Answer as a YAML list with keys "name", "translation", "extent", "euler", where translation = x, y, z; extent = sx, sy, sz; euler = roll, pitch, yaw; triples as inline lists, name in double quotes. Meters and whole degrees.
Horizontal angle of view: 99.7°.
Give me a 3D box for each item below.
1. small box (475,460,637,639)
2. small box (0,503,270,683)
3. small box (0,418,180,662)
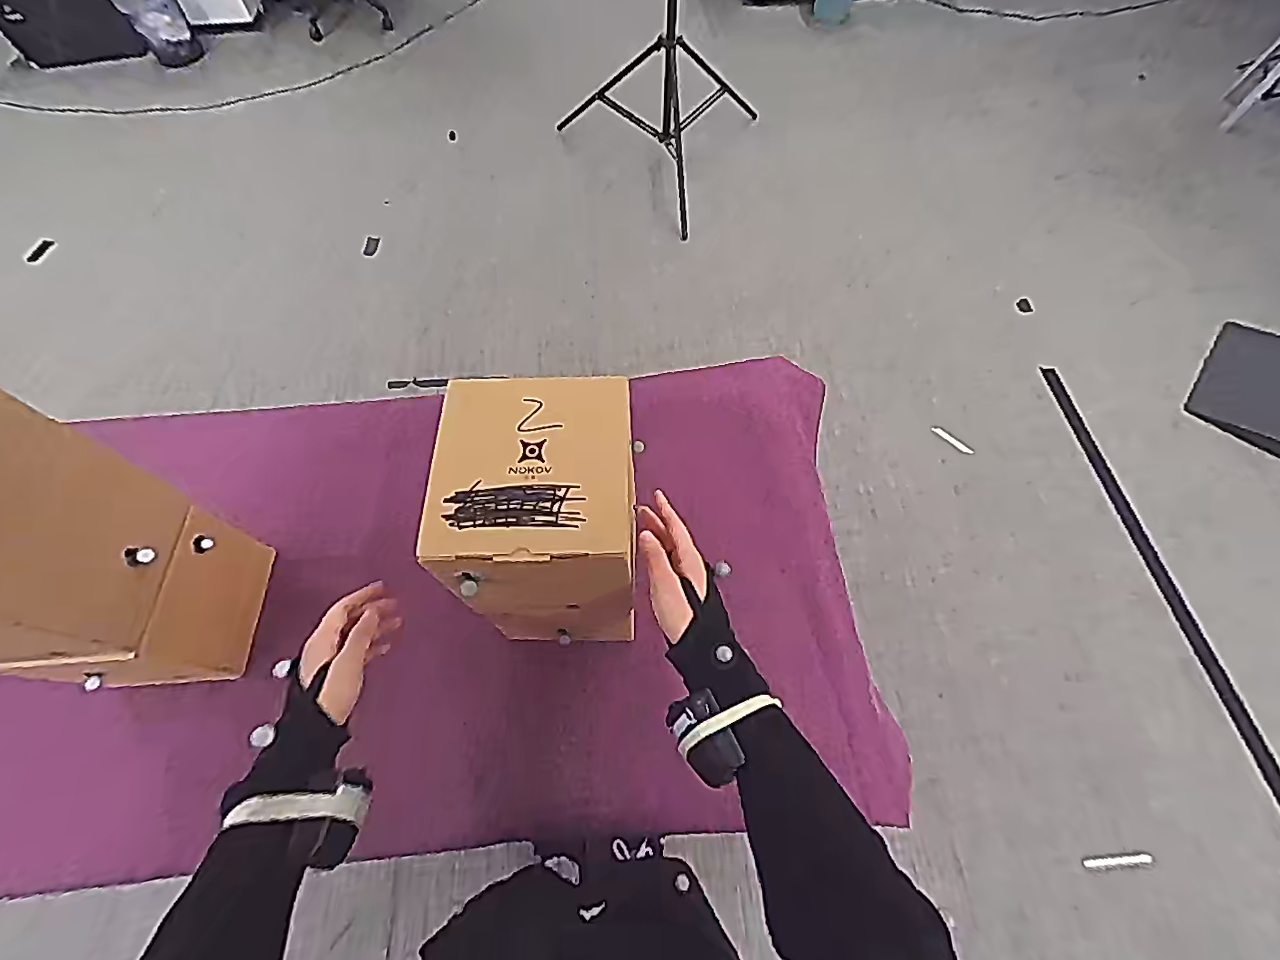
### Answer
- name: "small box"
  translation: [-0.090, 0.091, 0.674]
  extent: [0.168, 0.176, 0.179]
  euler: [0, 63, 1]
- name: "small box"
  translation: [-0.590, 0.144, 0.652]
  extent: [0.168, 0.176, 0.179]
  euler: [-4, 62, -2]
- name: "small box"
  translation: [-0.592, 0.063, 0.509]
  extent: [0.168, 0.176, 0.179]
  euler: [-4, 62, -2]
